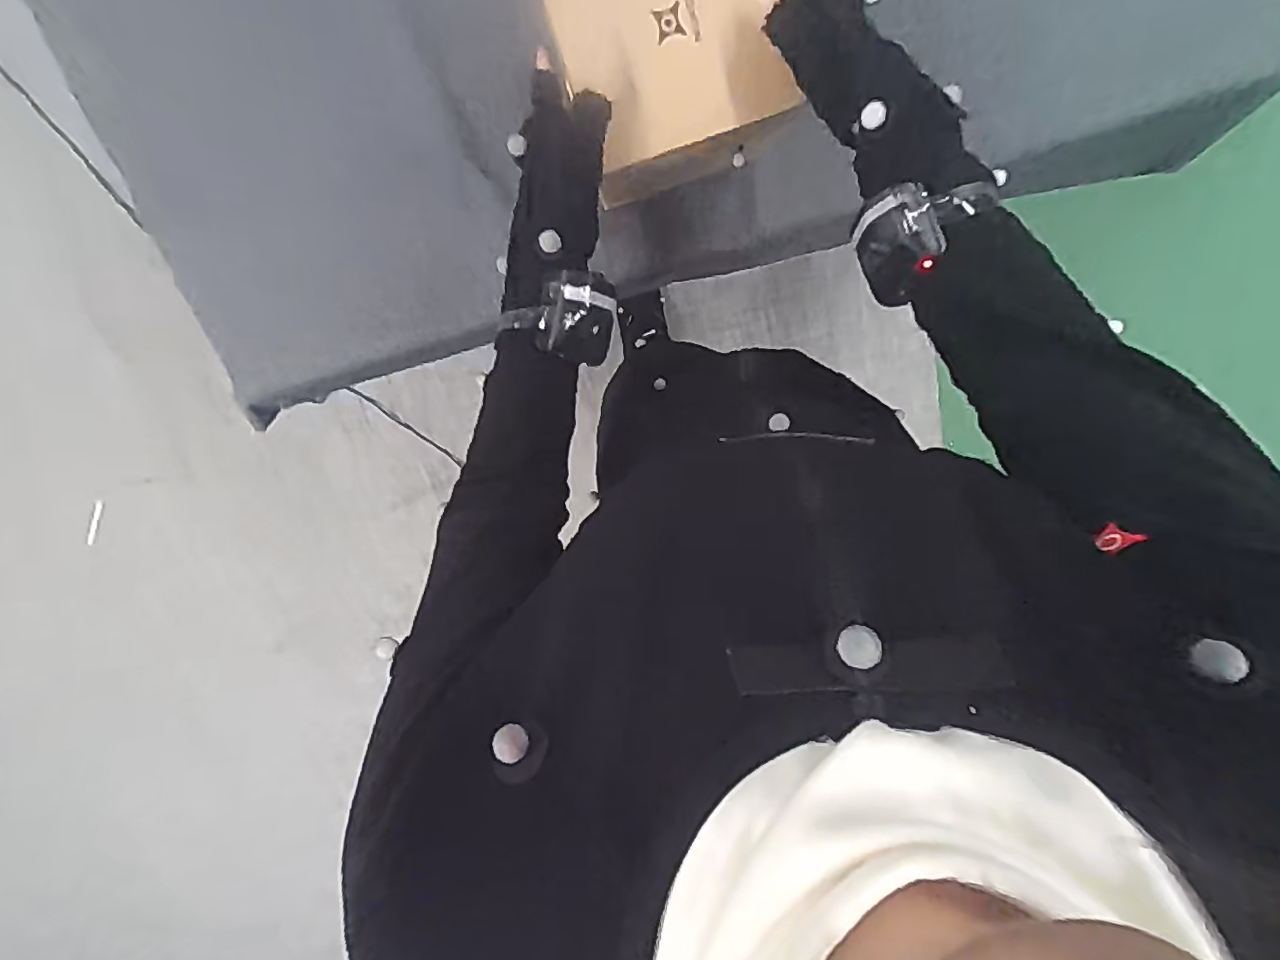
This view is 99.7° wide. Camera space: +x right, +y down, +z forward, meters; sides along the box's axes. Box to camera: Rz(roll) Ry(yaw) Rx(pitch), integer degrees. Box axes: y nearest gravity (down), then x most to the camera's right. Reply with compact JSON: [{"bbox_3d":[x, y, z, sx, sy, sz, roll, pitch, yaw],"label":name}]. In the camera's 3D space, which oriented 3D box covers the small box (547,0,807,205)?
[{"bbox_3d":[0.024,-0.369,0.482,0.179,0.176,0.168,-18,107,5],"label":"small box"}]
